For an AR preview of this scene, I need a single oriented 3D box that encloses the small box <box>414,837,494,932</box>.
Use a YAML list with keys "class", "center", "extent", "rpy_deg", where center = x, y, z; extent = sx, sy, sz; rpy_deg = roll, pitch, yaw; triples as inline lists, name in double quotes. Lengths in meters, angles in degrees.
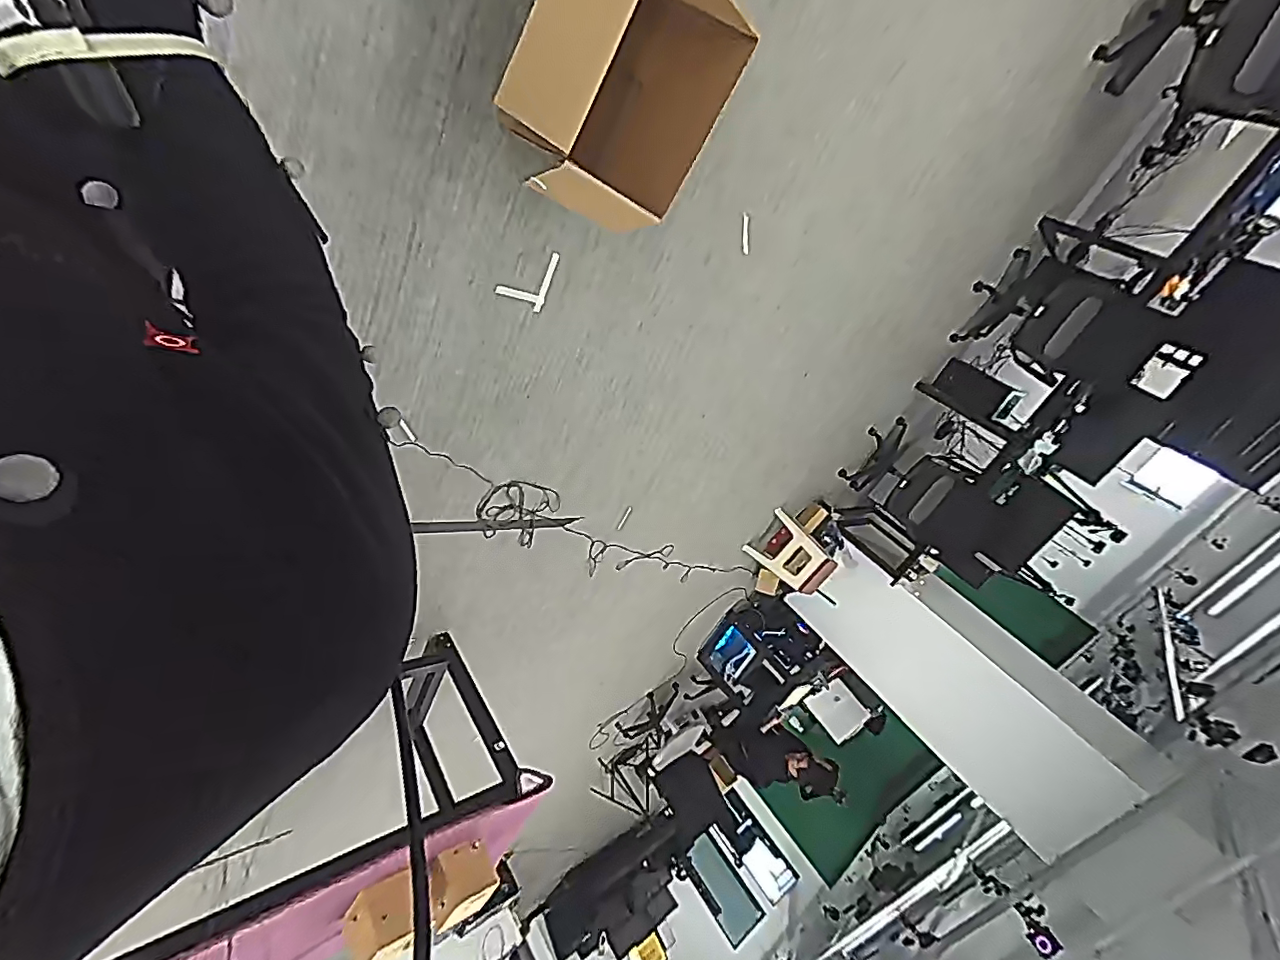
- class: "small box"
  center: [-0.621, 1.326, 1.791]
  extent: [0.168, 0.176, 0.179]
  rpy_deg: [9, 120, -50]
